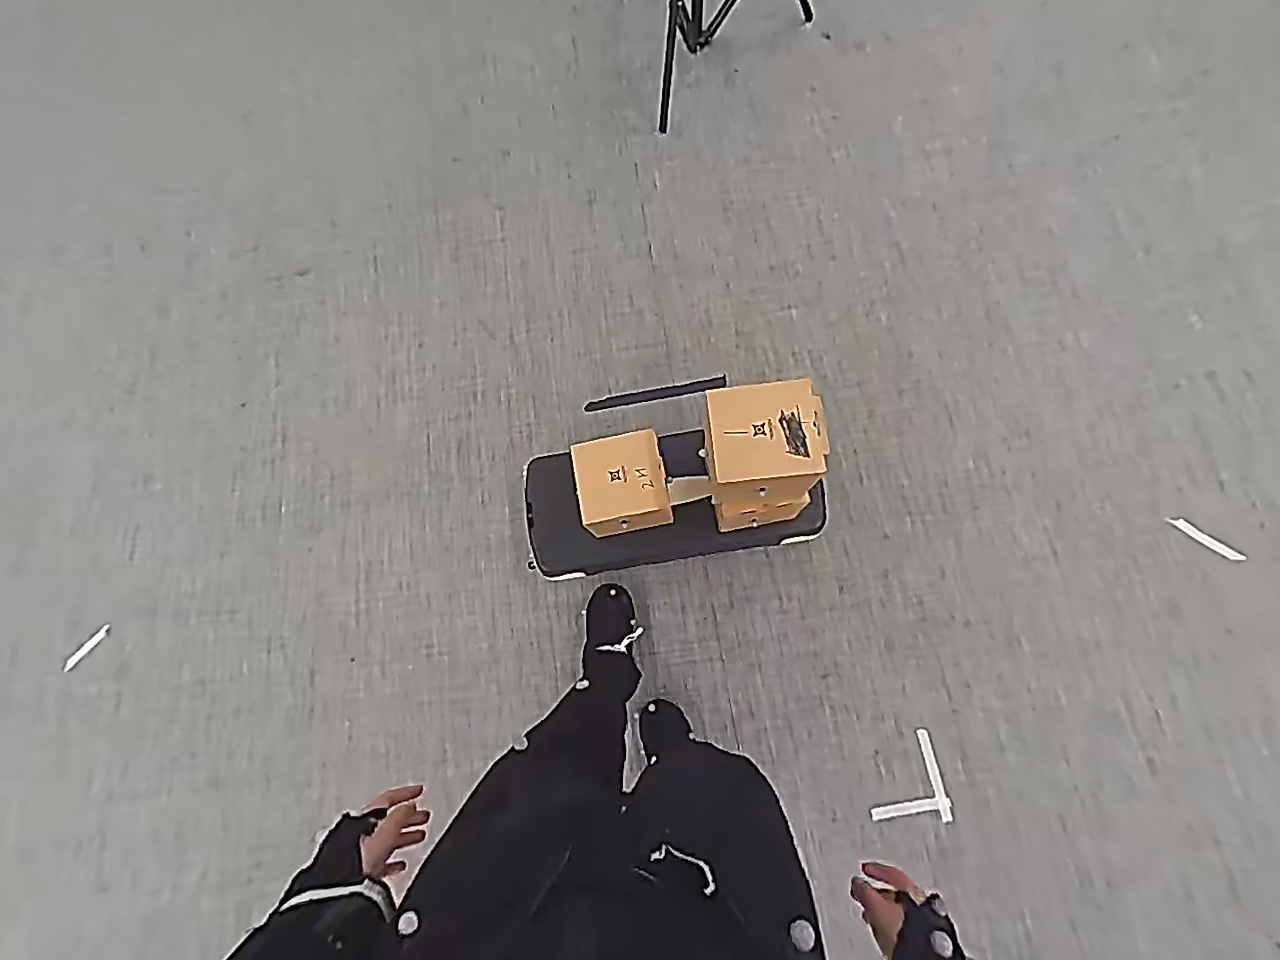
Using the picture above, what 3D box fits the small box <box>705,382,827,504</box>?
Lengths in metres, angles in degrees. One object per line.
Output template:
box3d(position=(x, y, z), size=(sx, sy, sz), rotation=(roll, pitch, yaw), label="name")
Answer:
box3d(position=(0.212, -0.058, 0.958), size=(0.179, 0.176, 0.168), rotation=(-6, 75, 4), label="small box")

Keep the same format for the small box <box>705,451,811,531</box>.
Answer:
box3d(position=(0.232, -0.004, 1.113), size=(0.168, 0.176, 0.179), rotation=(-11, 76, 2), label="small box")
